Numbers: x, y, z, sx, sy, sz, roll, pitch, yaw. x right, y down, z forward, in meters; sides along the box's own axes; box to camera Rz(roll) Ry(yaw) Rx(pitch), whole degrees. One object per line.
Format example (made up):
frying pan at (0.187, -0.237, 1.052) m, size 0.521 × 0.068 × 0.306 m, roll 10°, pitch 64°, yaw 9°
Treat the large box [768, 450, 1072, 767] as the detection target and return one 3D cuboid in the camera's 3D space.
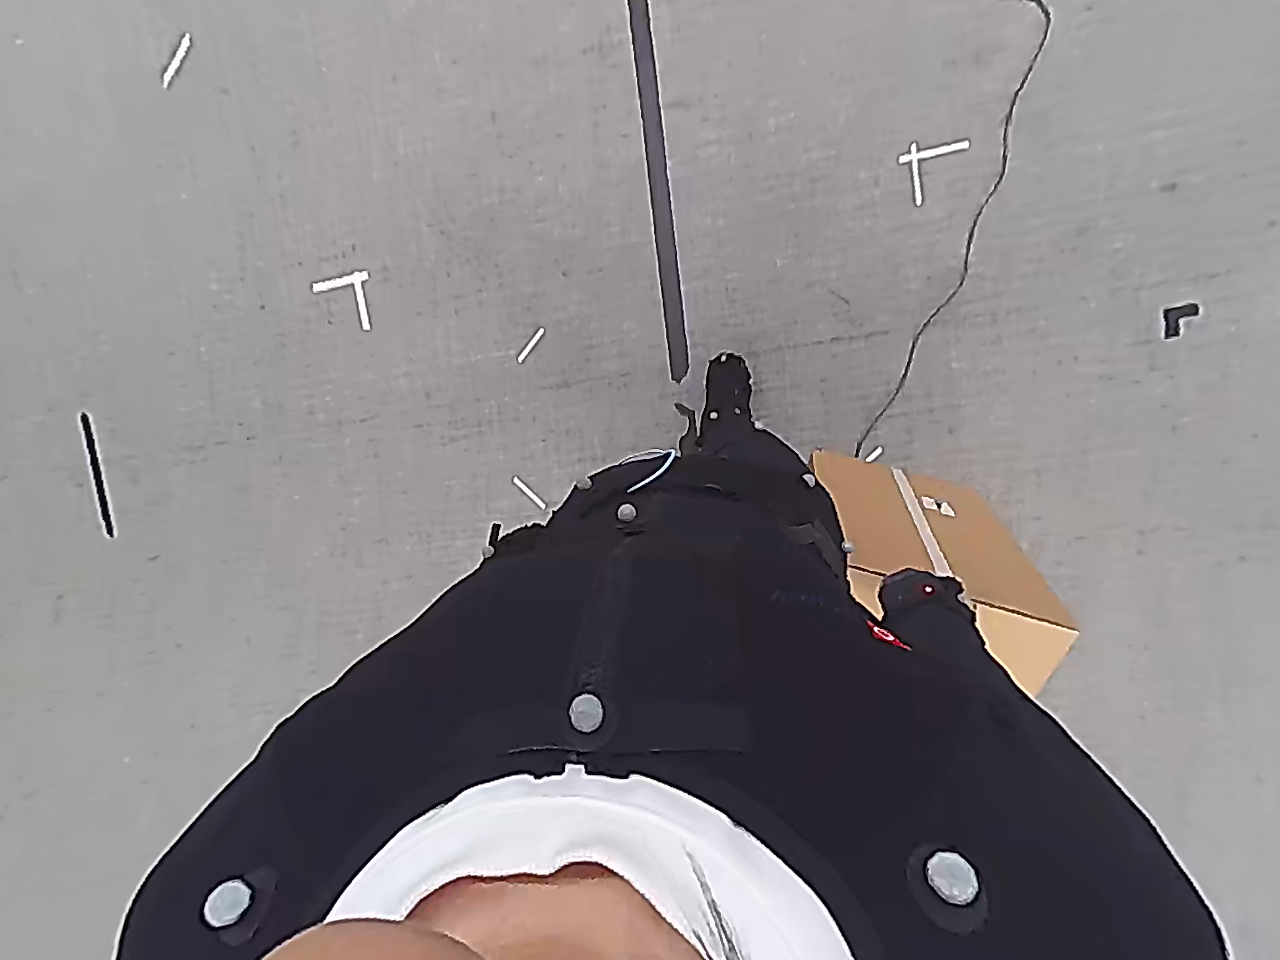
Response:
large box at (0.410, 0.188, 0.928) m, size 0.320 × 0.408 × 0.320 m, roll 16°, pitch 116°, yaw 7°
